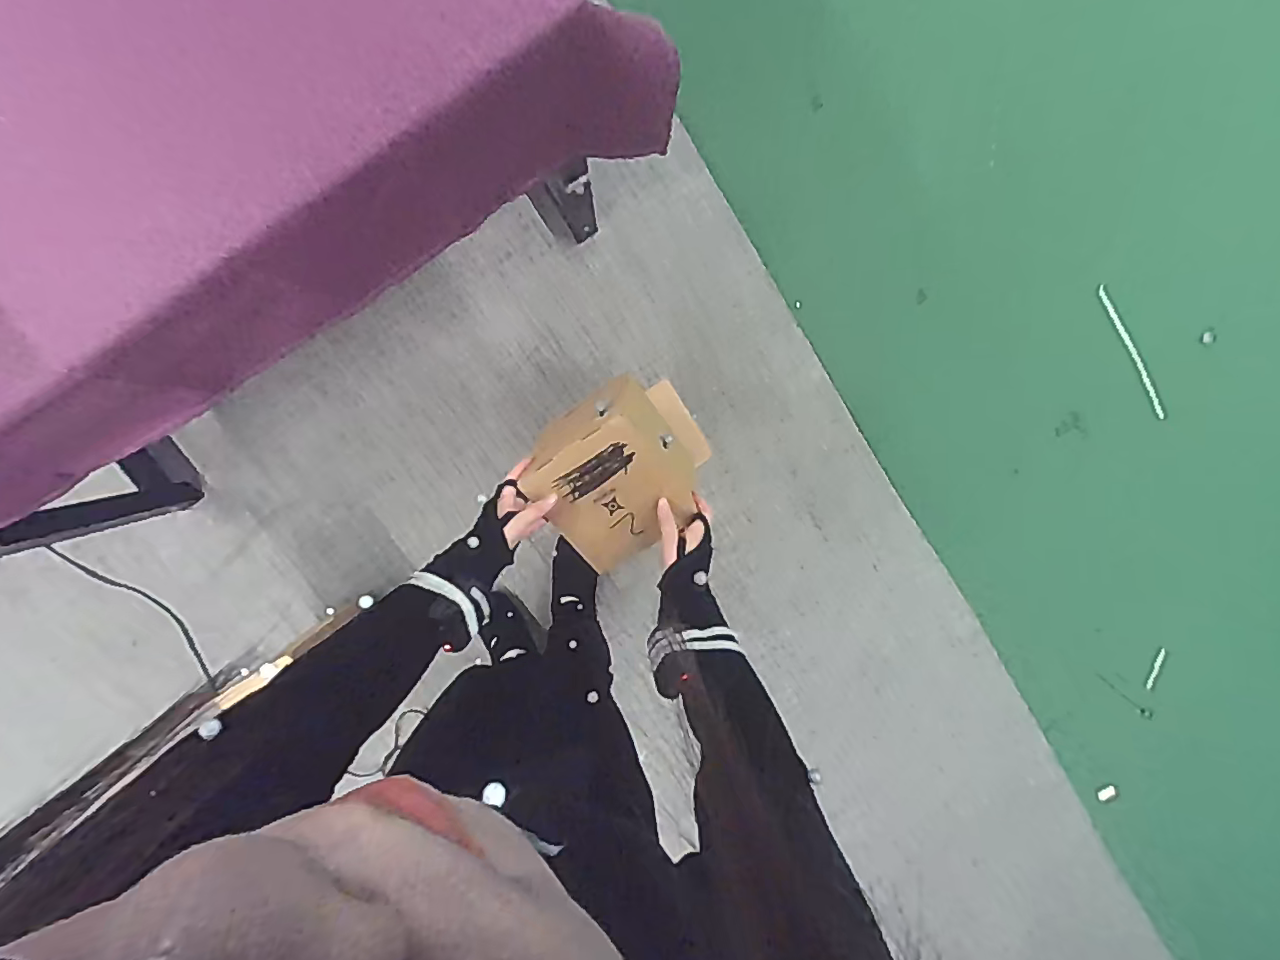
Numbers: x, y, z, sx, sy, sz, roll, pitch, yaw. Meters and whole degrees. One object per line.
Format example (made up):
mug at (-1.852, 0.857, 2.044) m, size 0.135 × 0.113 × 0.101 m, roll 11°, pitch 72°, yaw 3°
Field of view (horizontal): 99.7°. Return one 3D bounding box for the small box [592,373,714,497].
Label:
small box at (0.022, -0.093, 1.067) m, size 0.168 × 0.176 × 0.179 m, roll -33°, pitch 99°, yaw 1°
